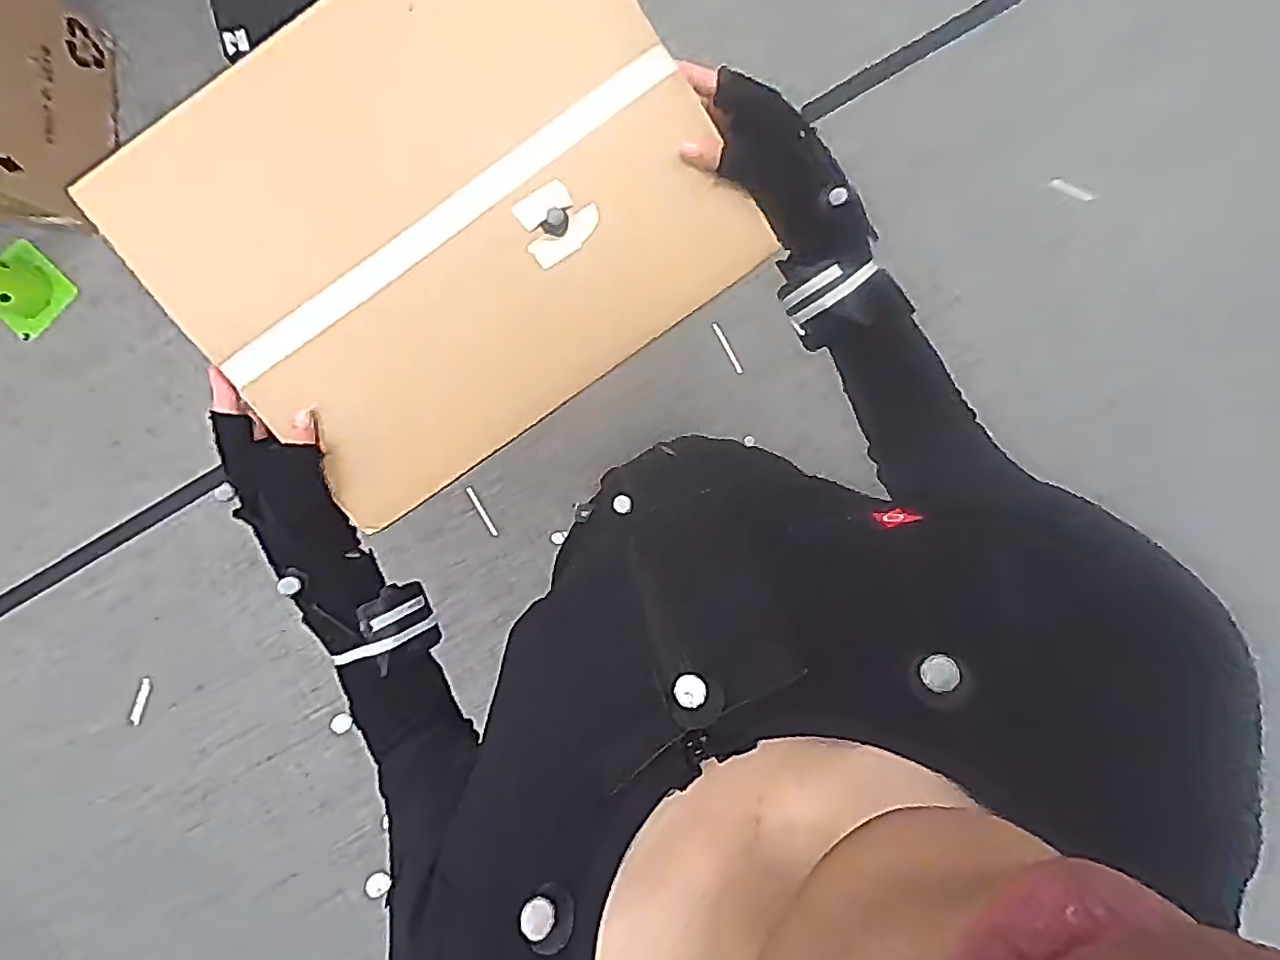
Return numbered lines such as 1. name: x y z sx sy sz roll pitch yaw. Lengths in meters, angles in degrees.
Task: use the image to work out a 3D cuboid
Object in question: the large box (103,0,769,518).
1. large box: -0.155 -0.226 0.553 0.408 0.320 0.320 -35 103 1
